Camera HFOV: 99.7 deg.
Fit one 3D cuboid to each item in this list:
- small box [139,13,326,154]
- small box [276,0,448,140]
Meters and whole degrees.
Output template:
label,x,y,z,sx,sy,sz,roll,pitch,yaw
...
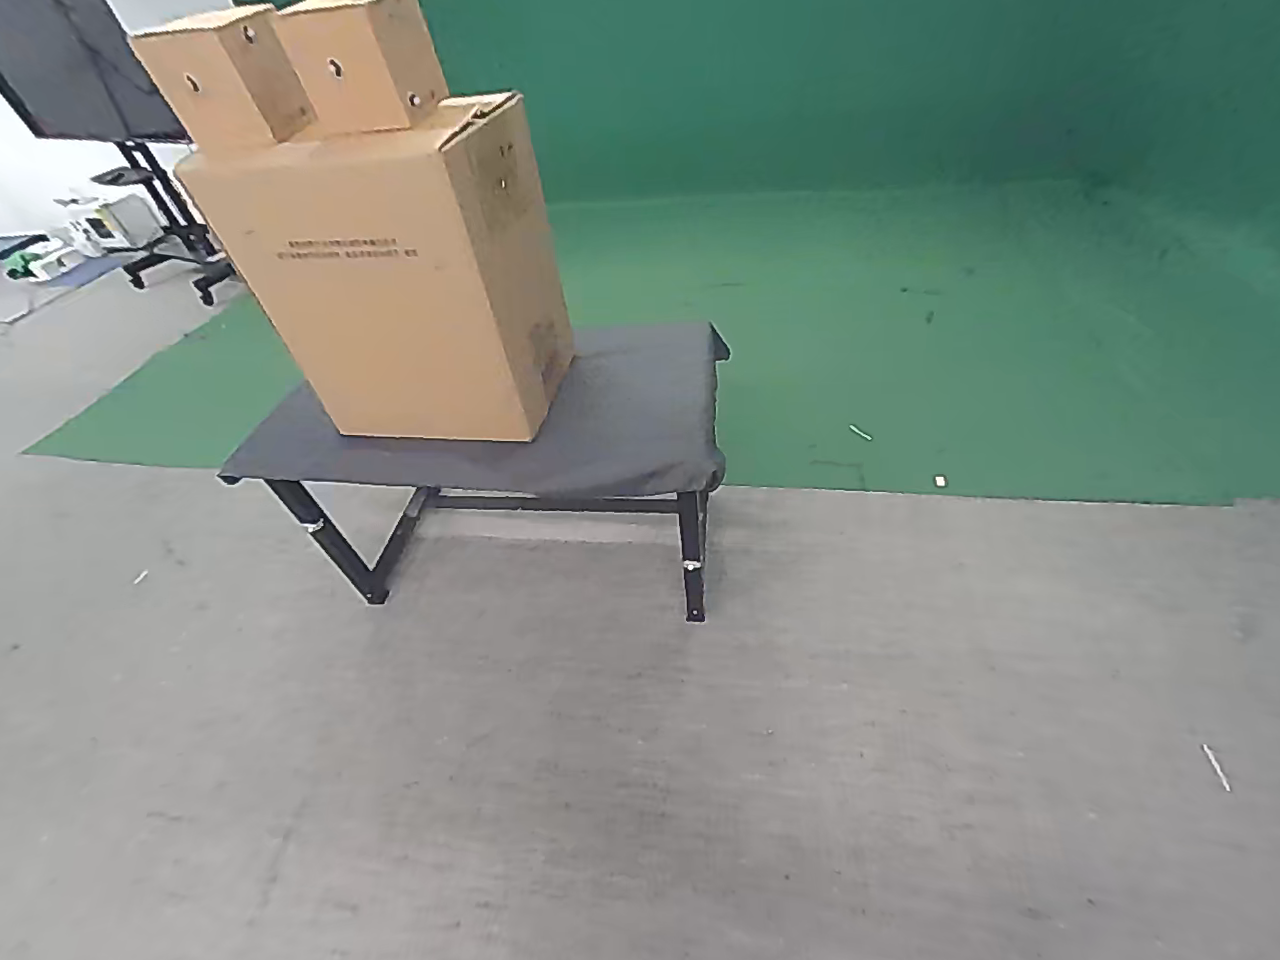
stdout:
label,x,y,z,sx,sy,sz,roll,pitch,yaw
small box,-0.721,-0.713,0.982,0.179,0.176,0.168,3,51,12
small box,-0.466,-0.718,0.942,0.179,0.176,0.168,3,51,13
